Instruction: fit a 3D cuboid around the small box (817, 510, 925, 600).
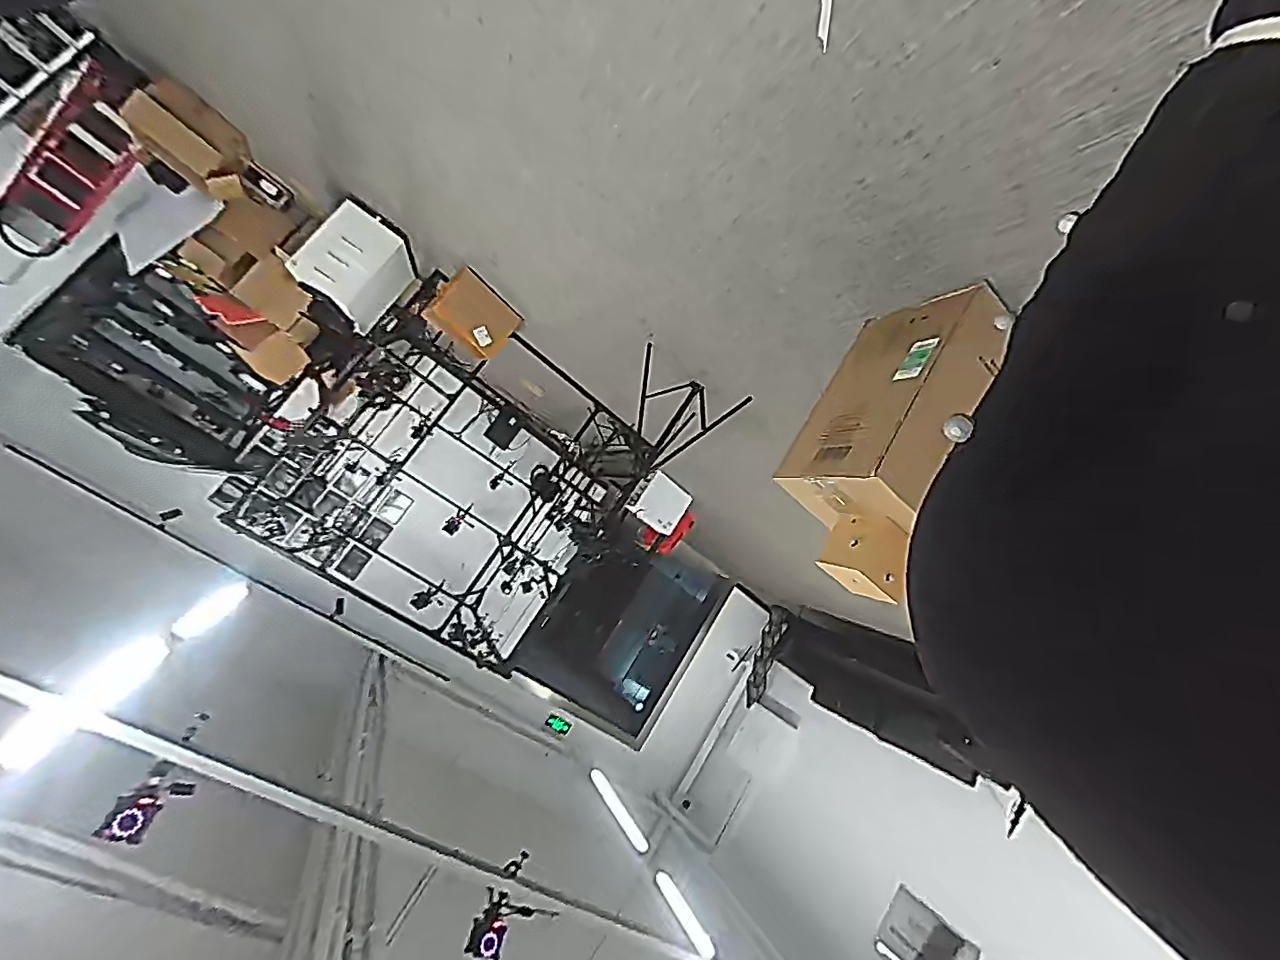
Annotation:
[{"bbox_3d":[0.622,0.194,1.454,0.179,0.176,0.168,37,167,-19],"label":"small box"}]
